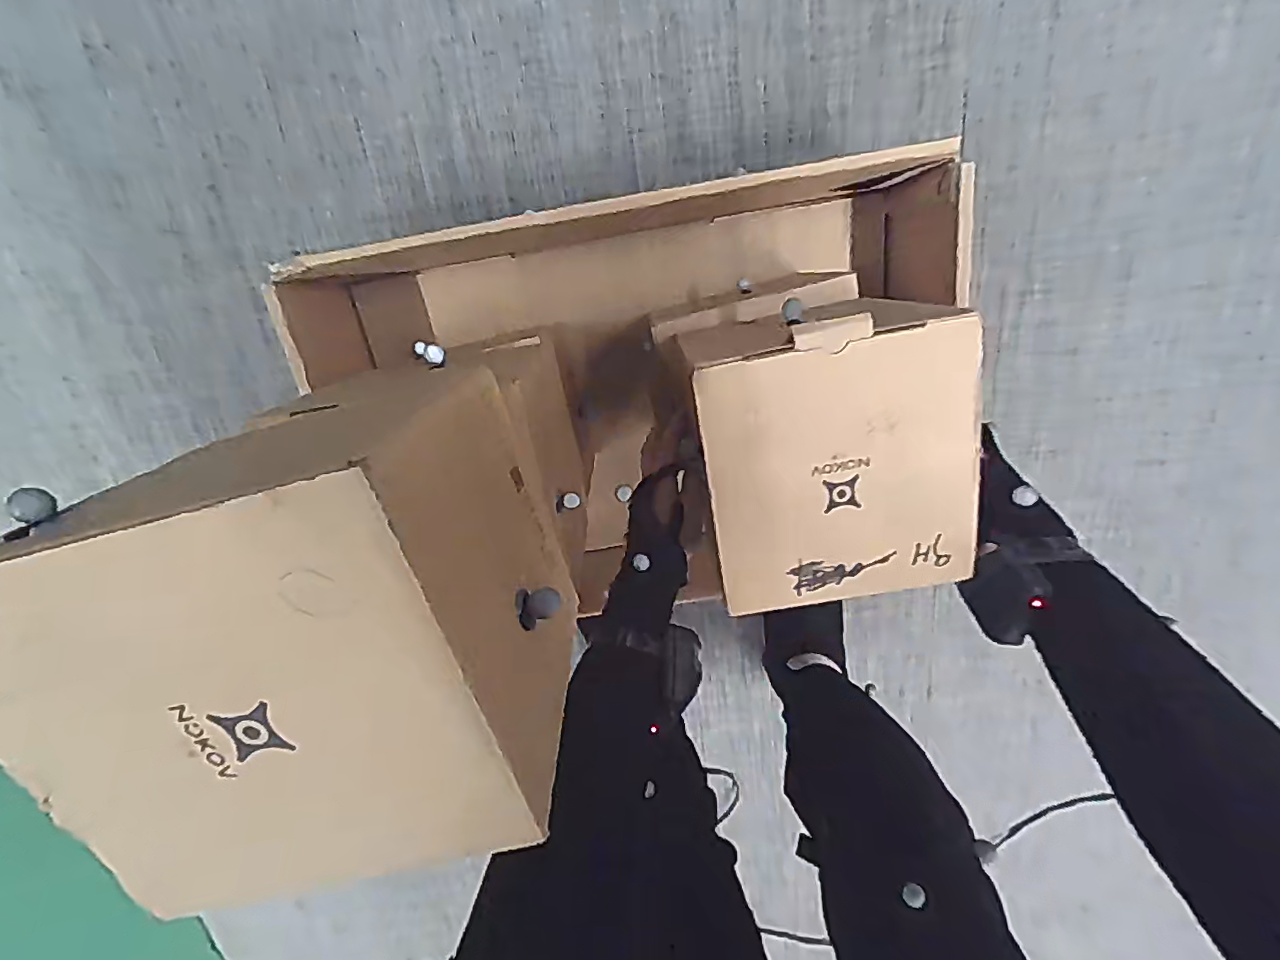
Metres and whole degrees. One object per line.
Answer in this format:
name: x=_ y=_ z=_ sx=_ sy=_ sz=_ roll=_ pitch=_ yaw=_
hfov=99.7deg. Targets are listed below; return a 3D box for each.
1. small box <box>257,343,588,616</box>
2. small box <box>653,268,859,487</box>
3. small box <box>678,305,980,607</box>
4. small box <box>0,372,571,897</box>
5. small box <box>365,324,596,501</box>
small box: x=-0.139 y=0.001 z=0.425 sx=0.168 sy=0.176 sz=0.179 roll=-8 pitch=111 yaw=2
small box: x=0.116 y=-0.111 z=0.557 sx=0.179 sy=0.176 sz=0.168 roll=-14 pitch=111 yaw=5
small box: x=0.125 y=-0.032 z=0.412 sx=0.168 sy=0.176 sz=0.179 roll=-9 pitch=110 yaw=4
small box: x=-0.140 y=0.056 z=0.272 sx=0.179 sy=0.176 sz=0.168 roll=-15 pitch=111 yaw=6
small box: x=-0.151 y=-0.063 z=0.576 sx=0.179 sy=0.176 sz=0.168 roll=-13 pitch=111 yaw=2
